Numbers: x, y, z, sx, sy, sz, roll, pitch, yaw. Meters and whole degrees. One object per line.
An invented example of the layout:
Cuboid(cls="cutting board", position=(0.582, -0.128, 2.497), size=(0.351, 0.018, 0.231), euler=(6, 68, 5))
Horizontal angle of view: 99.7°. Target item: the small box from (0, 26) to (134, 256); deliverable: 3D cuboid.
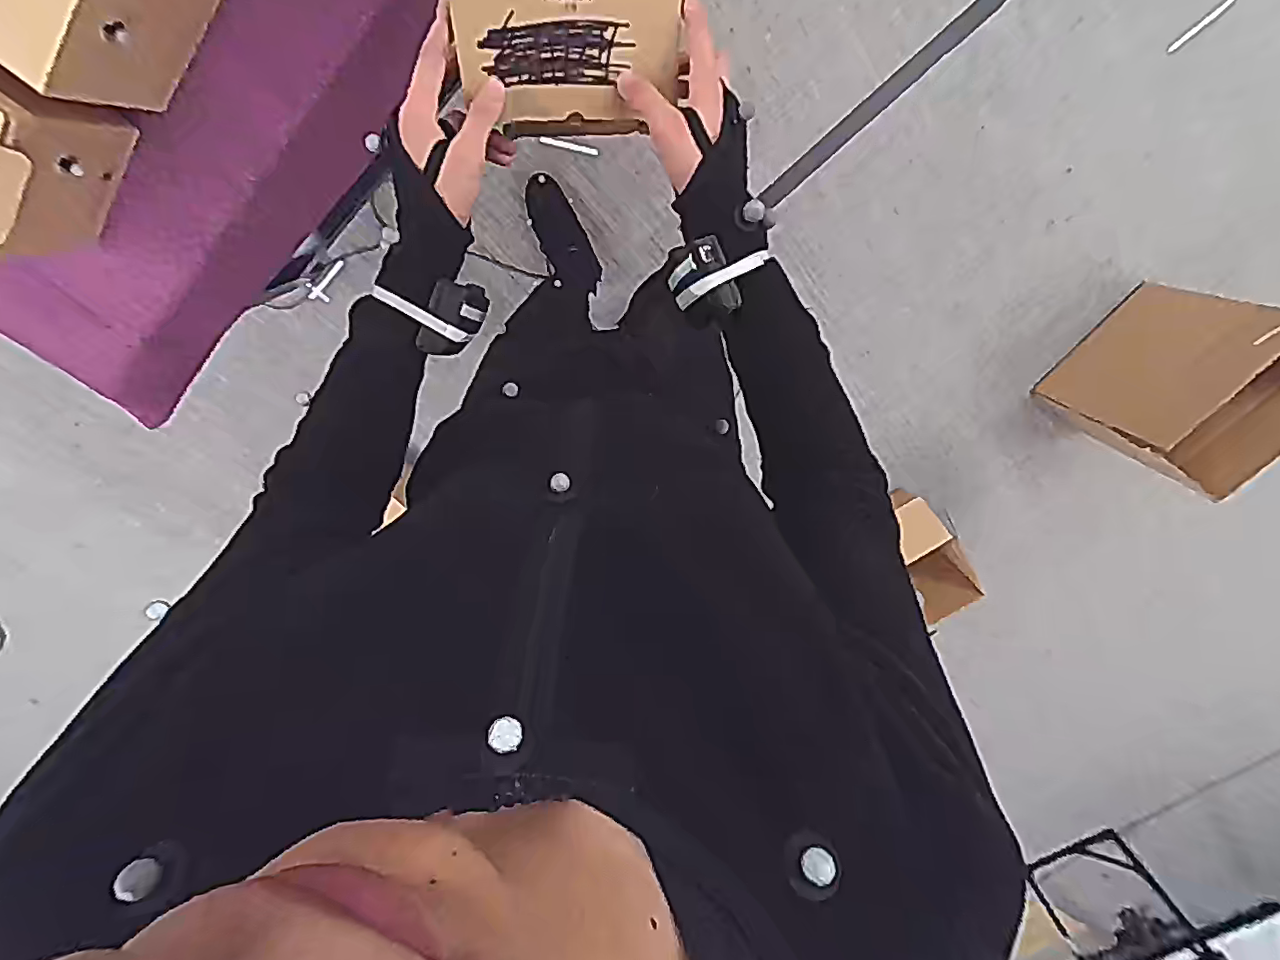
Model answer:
Cuboid(cls="small box", position=(-0.681, -0.358, 0.545), size=(0.179, 0.176, 0.168), euler=(35, 110, -23))
